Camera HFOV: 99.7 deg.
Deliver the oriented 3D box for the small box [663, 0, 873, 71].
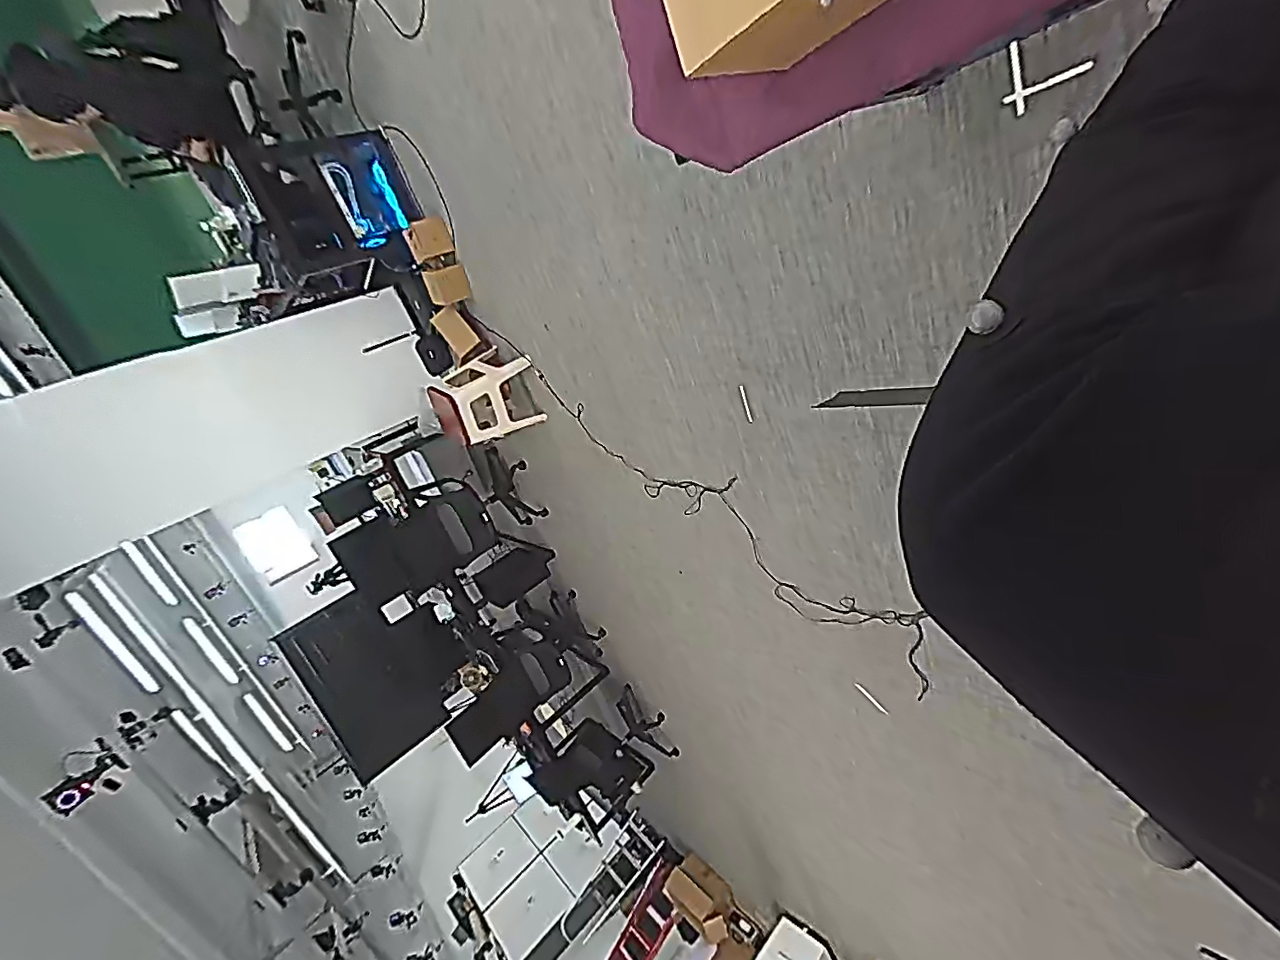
[{"bbox_3d":[0.125,-0.496,0.472,0.179,0.176,0.168,2,119,52],"label":"small box"}]
